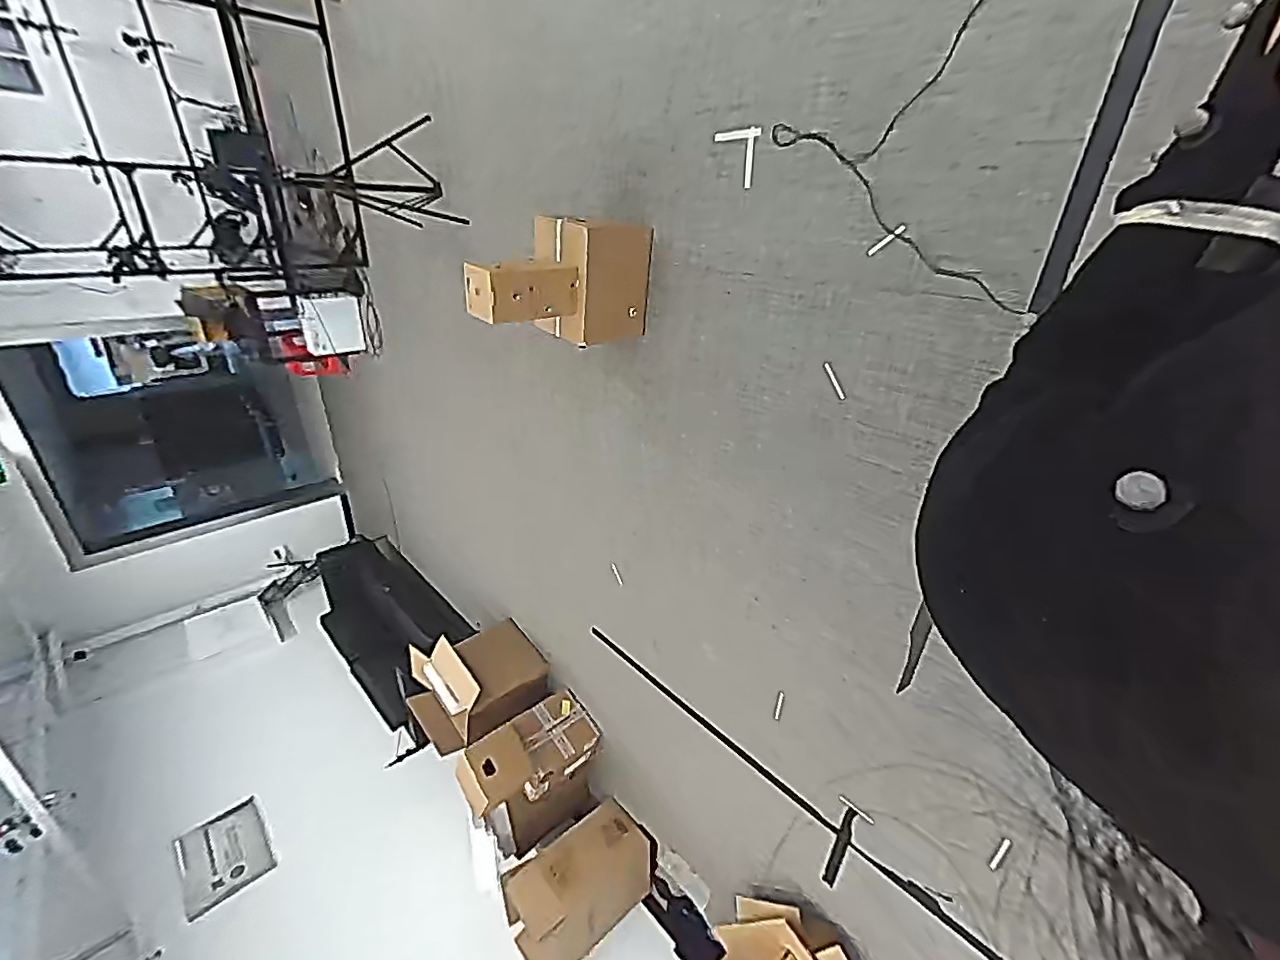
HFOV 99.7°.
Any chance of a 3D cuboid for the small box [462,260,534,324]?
[{"bbox_3d":[-0.466,-0.630,1.794,0.179,0.176,0.168,31,128,36],"label":"small box"}]
